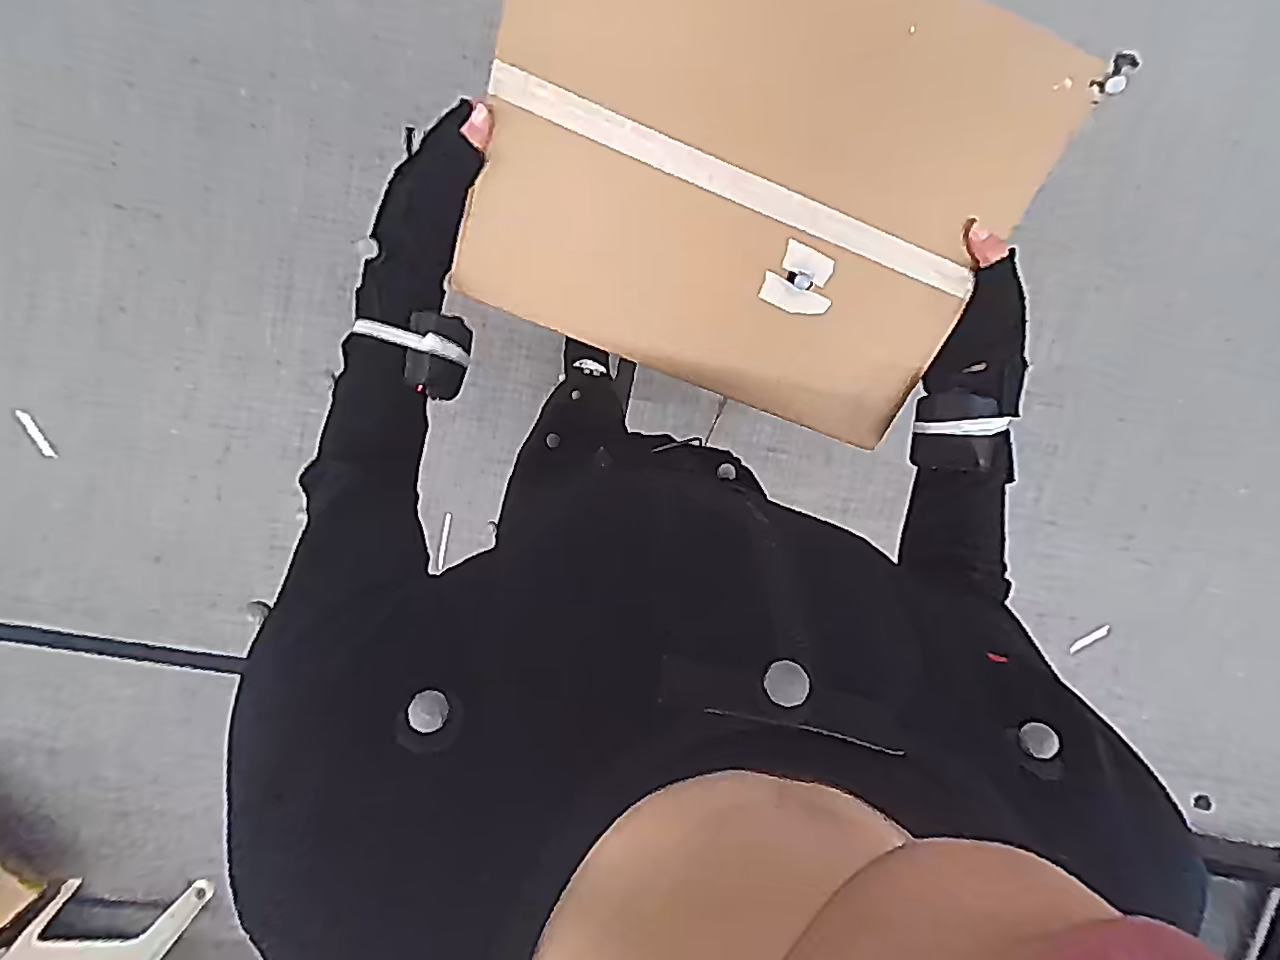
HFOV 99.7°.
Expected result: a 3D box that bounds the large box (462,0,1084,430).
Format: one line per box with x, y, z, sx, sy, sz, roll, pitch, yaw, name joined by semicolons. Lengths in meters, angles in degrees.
0.082;-0.300;0.553;0.408;0.320;0.320;18;118;-9;large box
